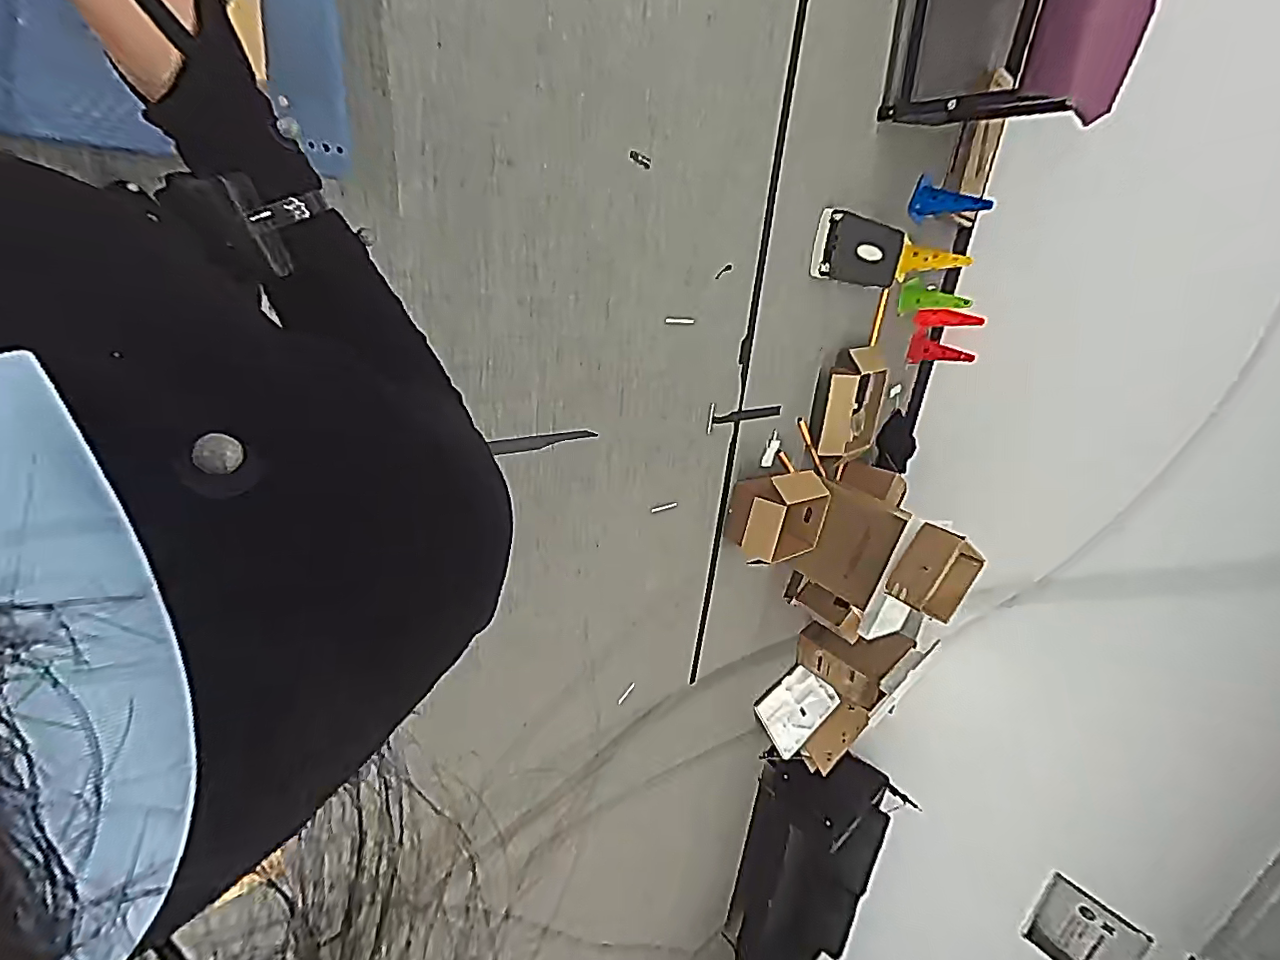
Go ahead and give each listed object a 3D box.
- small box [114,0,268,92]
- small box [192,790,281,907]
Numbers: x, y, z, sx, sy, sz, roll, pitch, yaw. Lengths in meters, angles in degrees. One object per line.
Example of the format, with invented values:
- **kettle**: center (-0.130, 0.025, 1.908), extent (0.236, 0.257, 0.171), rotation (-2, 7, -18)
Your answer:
- **small box**: center (-0.675, -0.715, 0.807), extent (0.168, 0.176, 0.179), rotation (-10, 117, -41)
- **small box**: center (-1.137, 1.030, 1.525), extent (0.168, 0.176, 0.179), rotation (-15, 120, -39)
